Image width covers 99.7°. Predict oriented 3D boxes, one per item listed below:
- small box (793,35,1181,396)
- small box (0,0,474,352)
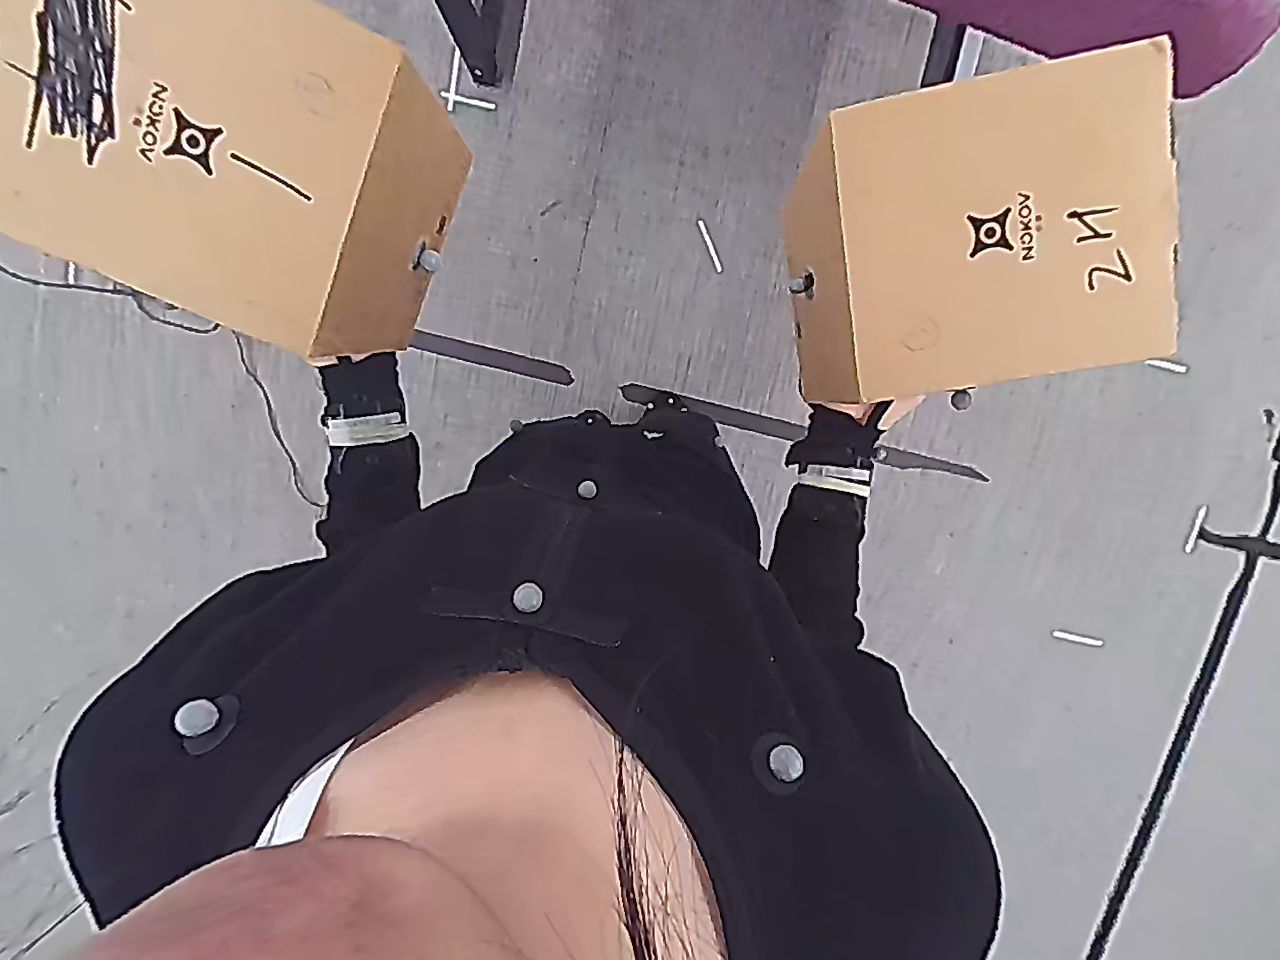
[{"bbox_3d":[0.212,-0.152,0.381,0.179,0.176,0.168,-9,98,6],"label":"small box"},{"bbox_3d":[-0.228,-0.192,0.343,0.179,0.176,0.168,22,102,-11],"label":"small box"}]
